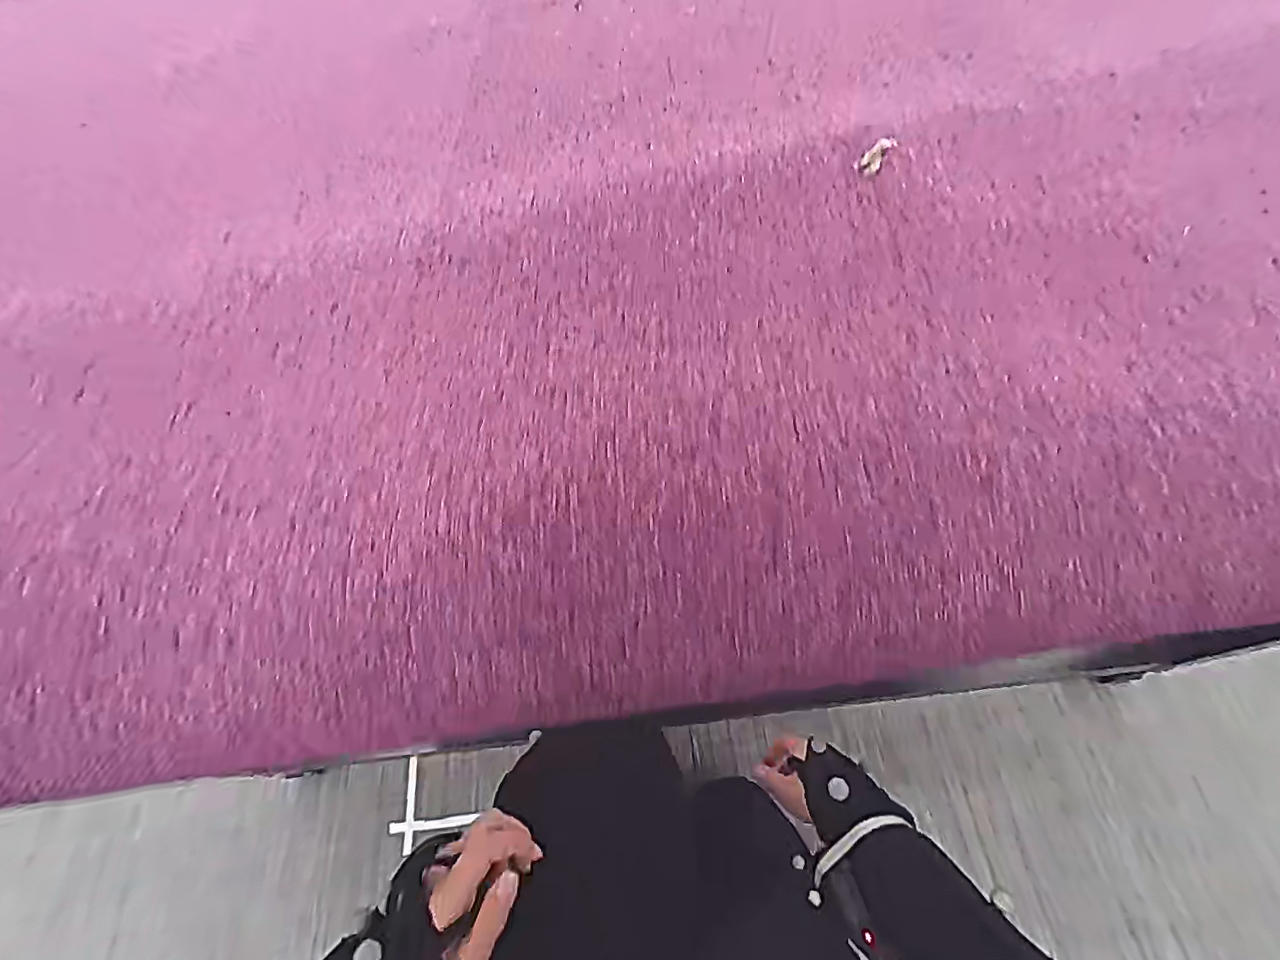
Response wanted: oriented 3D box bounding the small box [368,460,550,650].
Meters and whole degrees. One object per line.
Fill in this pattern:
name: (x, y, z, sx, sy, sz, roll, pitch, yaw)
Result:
small box: (-0.216, 0.101, 0.684, 0.168, 0.176, 0.179, -10, 62, 0)
